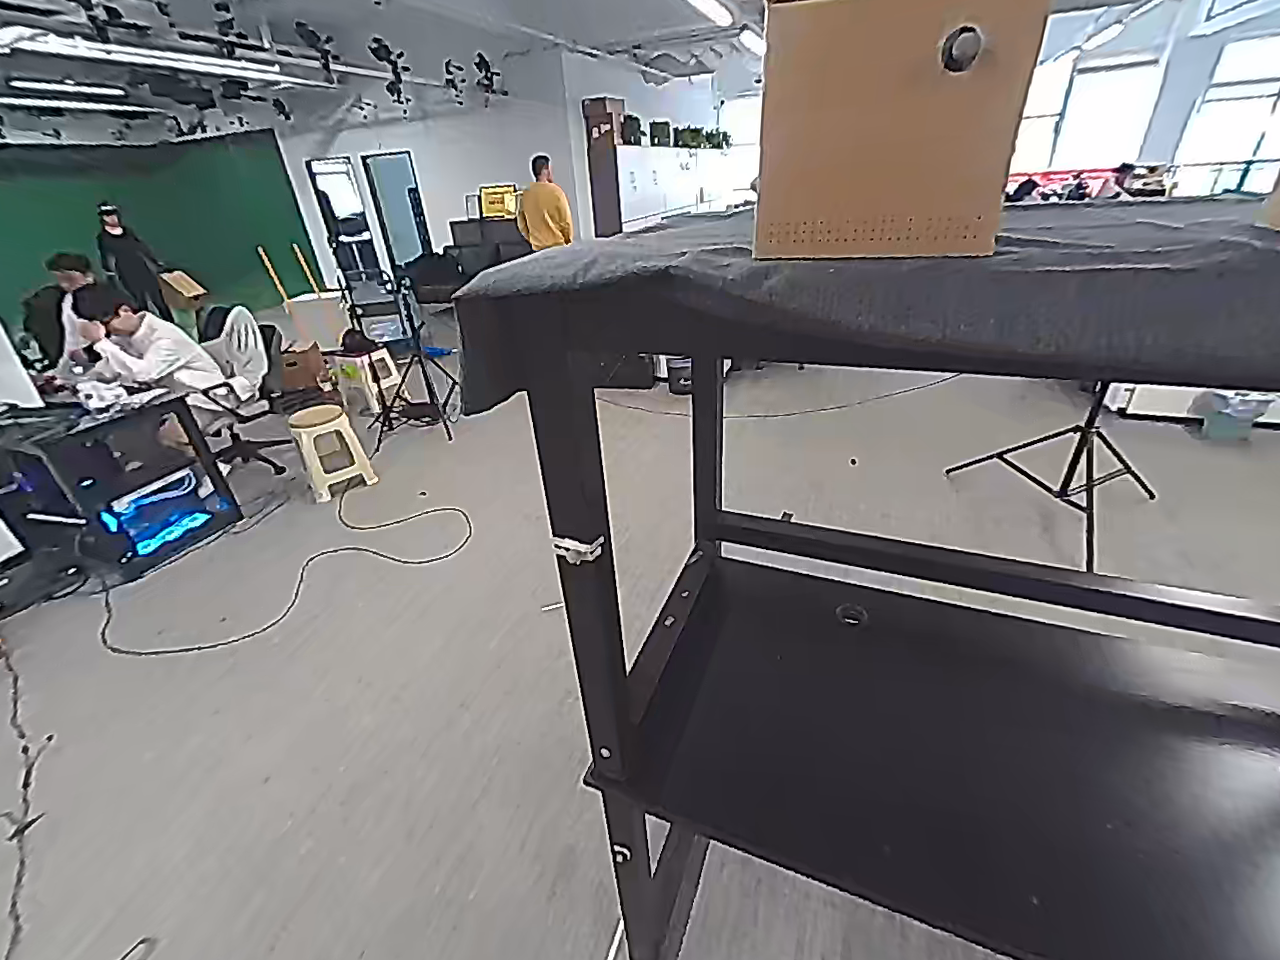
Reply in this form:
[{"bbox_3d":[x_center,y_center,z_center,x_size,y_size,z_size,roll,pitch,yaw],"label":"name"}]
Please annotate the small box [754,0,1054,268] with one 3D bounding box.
[{"bbox_3d":[0.197,-0.277,0.448,0.179,0.176,0.168,6,29,18],"label":"small box"}]
